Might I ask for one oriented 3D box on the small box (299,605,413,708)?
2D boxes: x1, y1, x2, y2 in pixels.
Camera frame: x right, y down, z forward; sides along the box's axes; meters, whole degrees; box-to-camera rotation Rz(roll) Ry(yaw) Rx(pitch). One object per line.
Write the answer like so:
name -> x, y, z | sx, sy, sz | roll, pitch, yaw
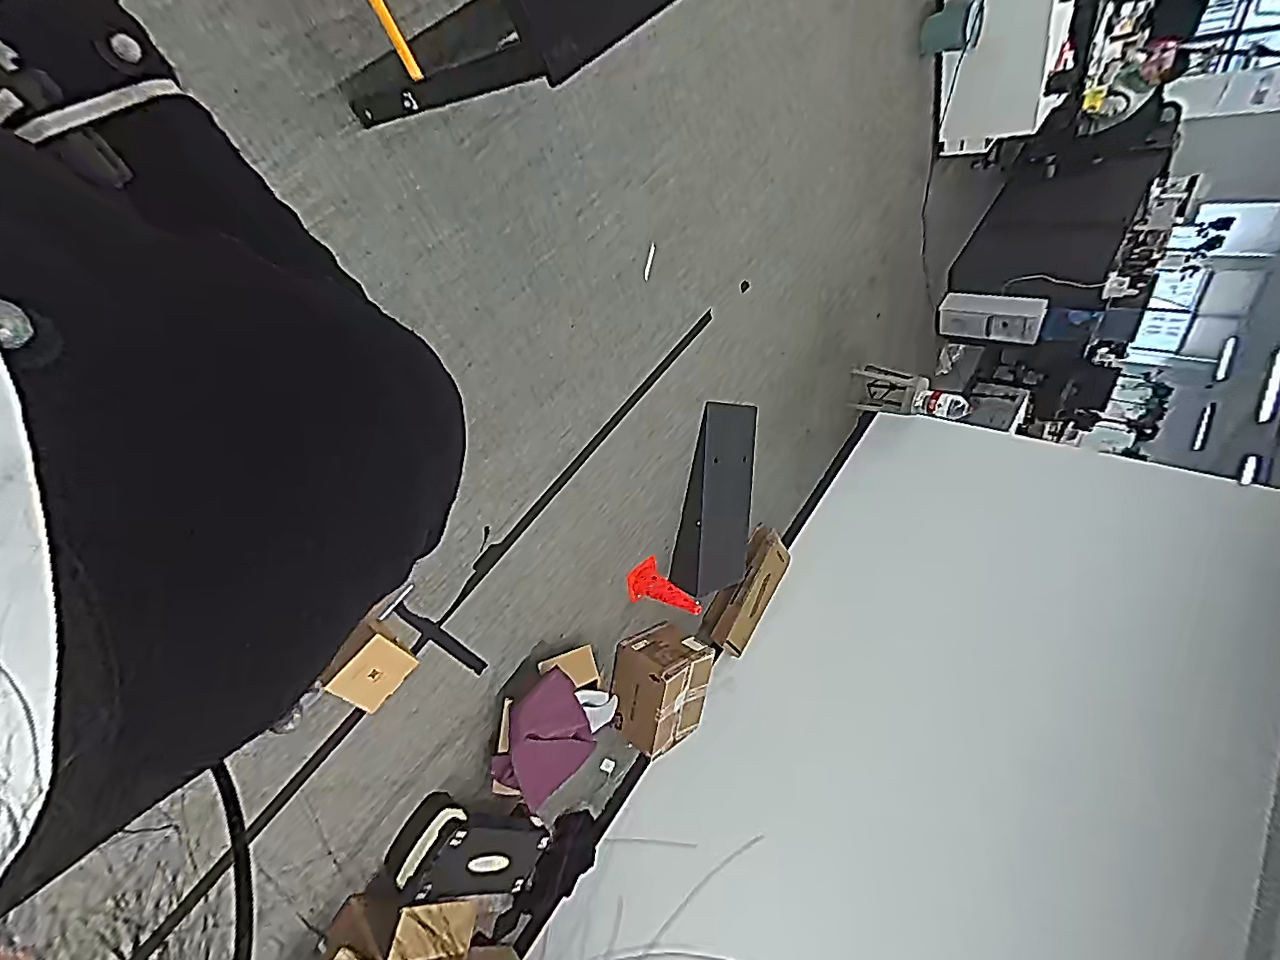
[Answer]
small box -> -0.743, 0.456, 1.417 | 0.168, 0.176, 0.179 | -50, 138, -22
